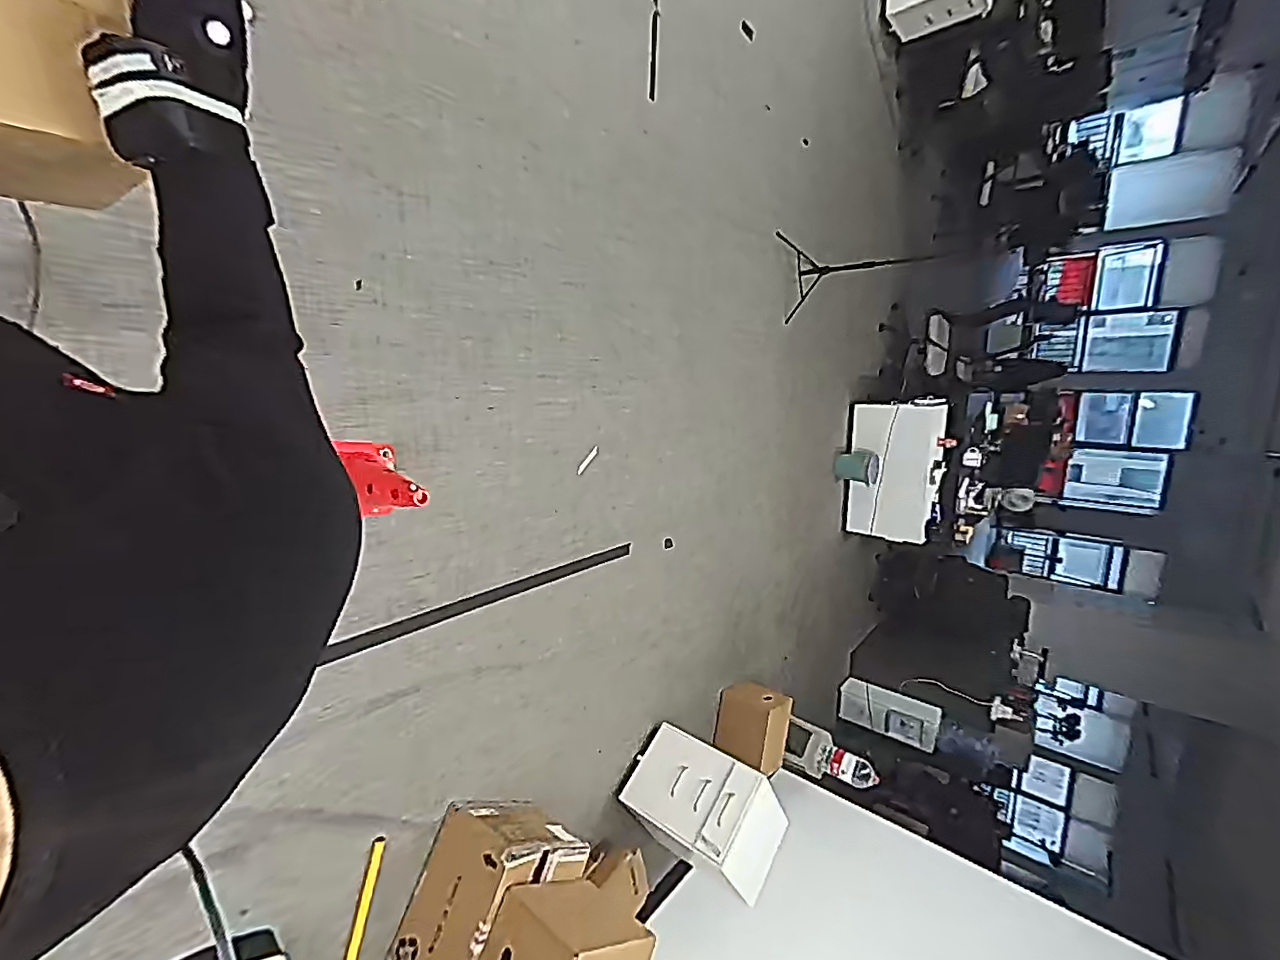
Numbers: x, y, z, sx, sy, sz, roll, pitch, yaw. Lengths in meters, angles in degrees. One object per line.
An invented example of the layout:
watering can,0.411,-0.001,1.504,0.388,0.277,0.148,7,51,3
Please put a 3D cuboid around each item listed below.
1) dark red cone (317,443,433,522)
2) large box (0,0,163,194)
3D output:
dark red cone,-0.610,0.025,1.302,0.201,0.394,0.202,-2,98,-49
large box,-0.598,-0.393,0.310,0.408,0.320,0.320,-16,113,-50
